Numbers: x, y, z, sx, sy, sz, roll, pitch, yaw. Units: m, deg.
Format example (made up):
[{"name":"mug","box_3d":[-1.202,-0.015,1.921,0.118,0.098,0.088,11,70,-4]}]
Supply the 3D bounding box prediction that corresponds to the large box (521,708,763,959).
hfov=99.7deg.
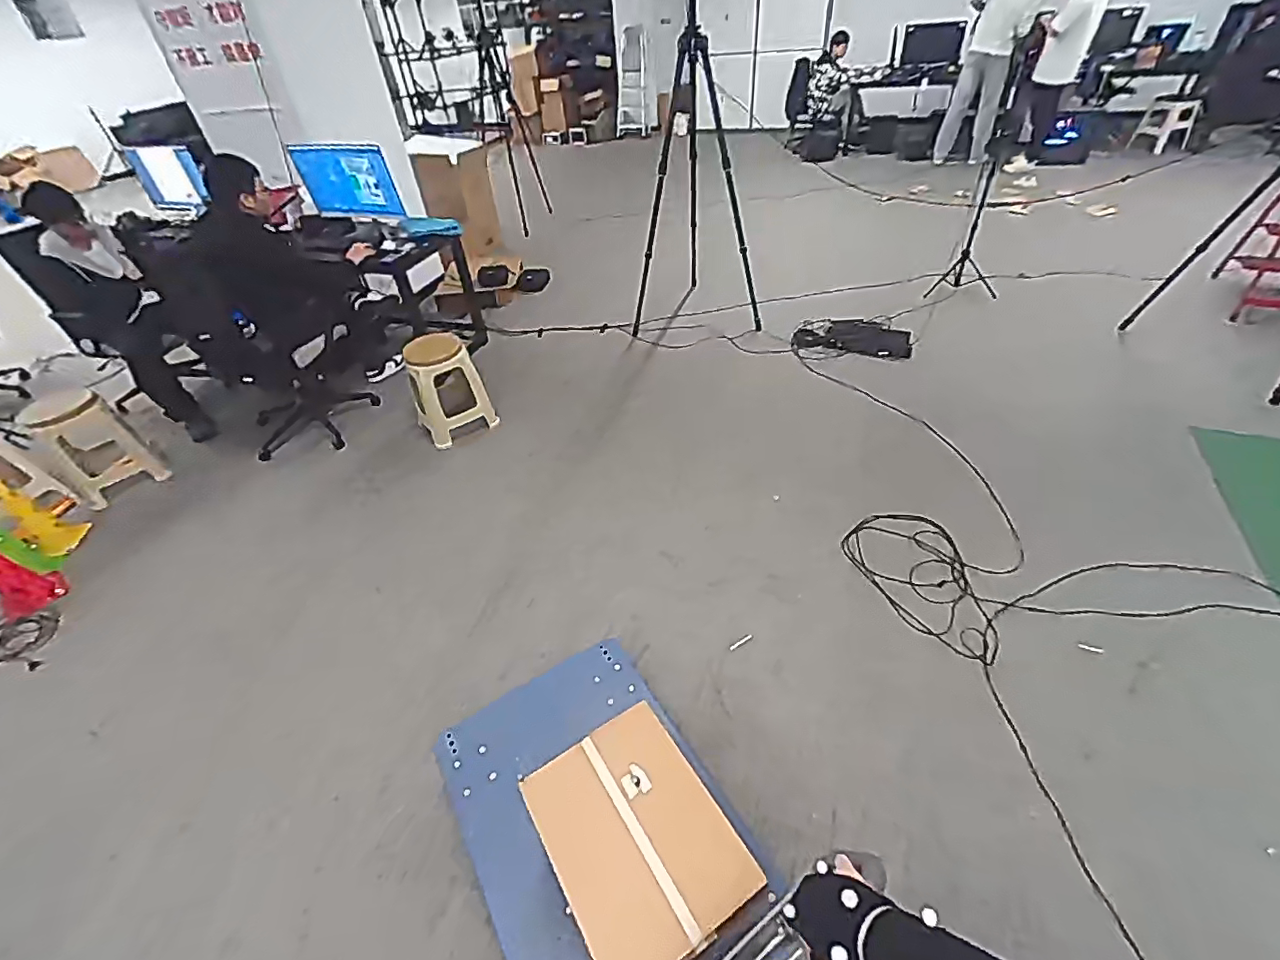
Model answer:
[{"name":"large box","box_3d":[0.003,0.787,1.130,0.320,0.320,0.408,-25,43,-22]}]
